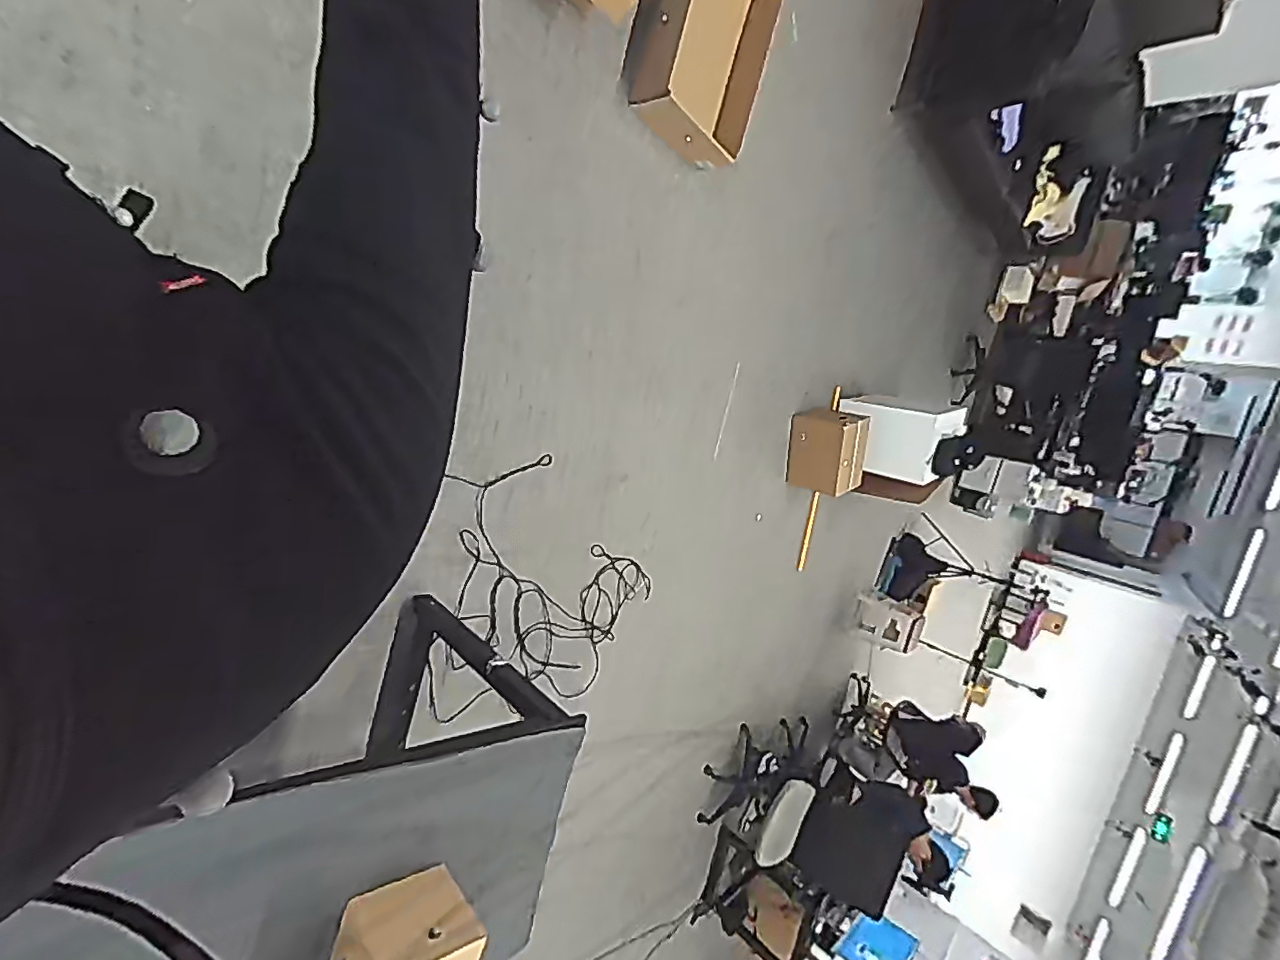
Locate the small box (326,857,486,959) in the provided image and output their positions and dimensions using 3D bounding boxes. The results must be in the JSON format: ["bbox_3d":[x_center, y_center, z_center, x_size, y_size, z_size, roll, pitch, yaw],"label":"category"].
[{"bbox_3d":[-0.397,0.791,0.915,0.179,0.176,0.168,14,94,-48],"label":"small box"}]
